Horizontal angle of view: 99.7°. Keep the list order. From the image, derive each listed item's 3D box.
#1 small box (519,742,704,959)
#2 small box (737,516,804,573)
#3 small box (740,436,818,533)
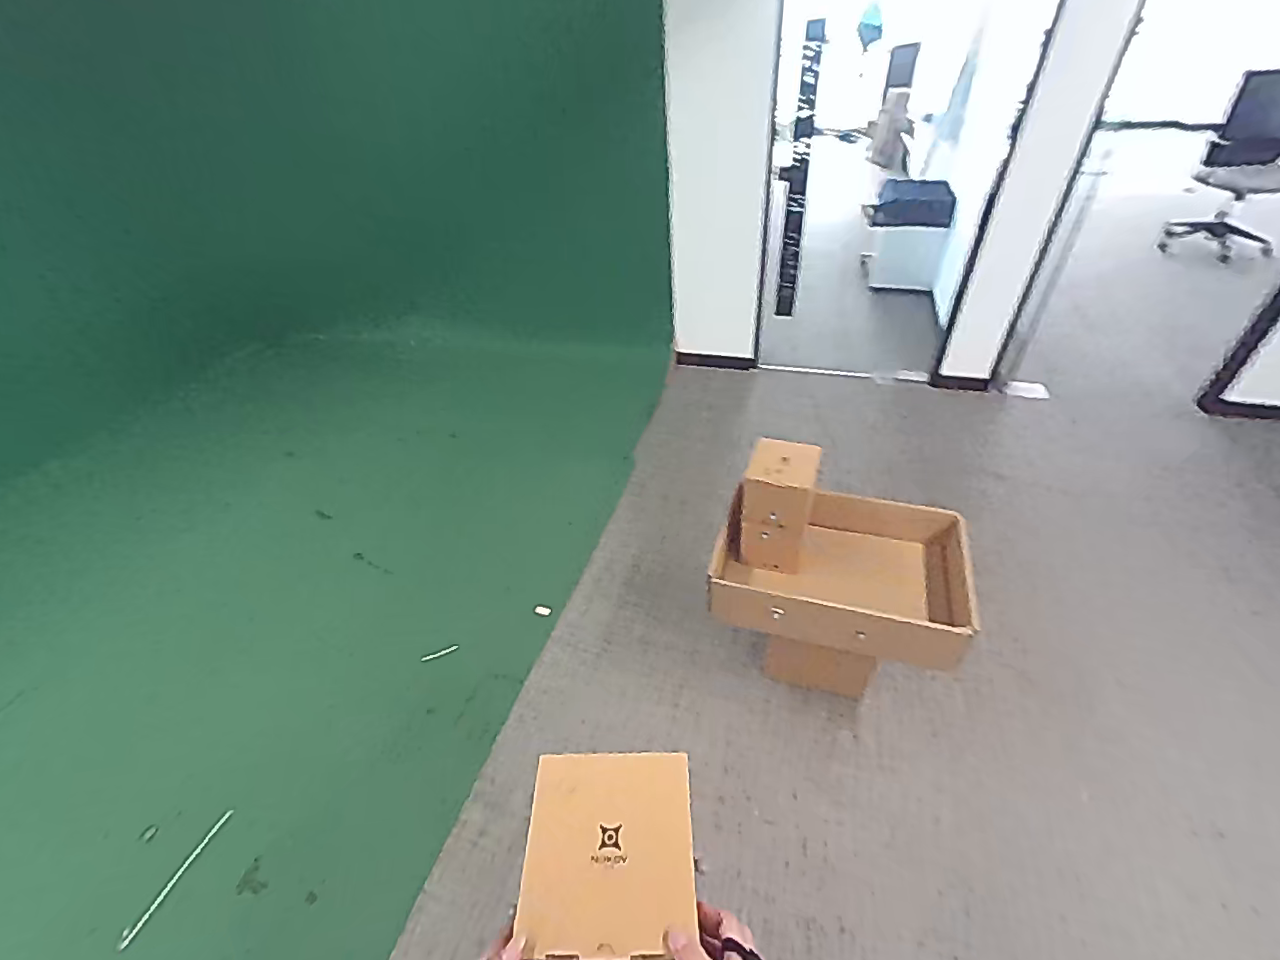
[{"bbox_3d":[-0.022,0.411,0.582,0.168,0.176,0.179,1,39,2],"label":"small box"},{"bbox_3d":[0.376,0.133,1.545,0.168,0.176,0.179,10,43,17],"label":"small box"},{"bbox_3d":[0.366,0.010,1.436,0.168,0.176,0.179,12,44,19],"label":"small box"}]
